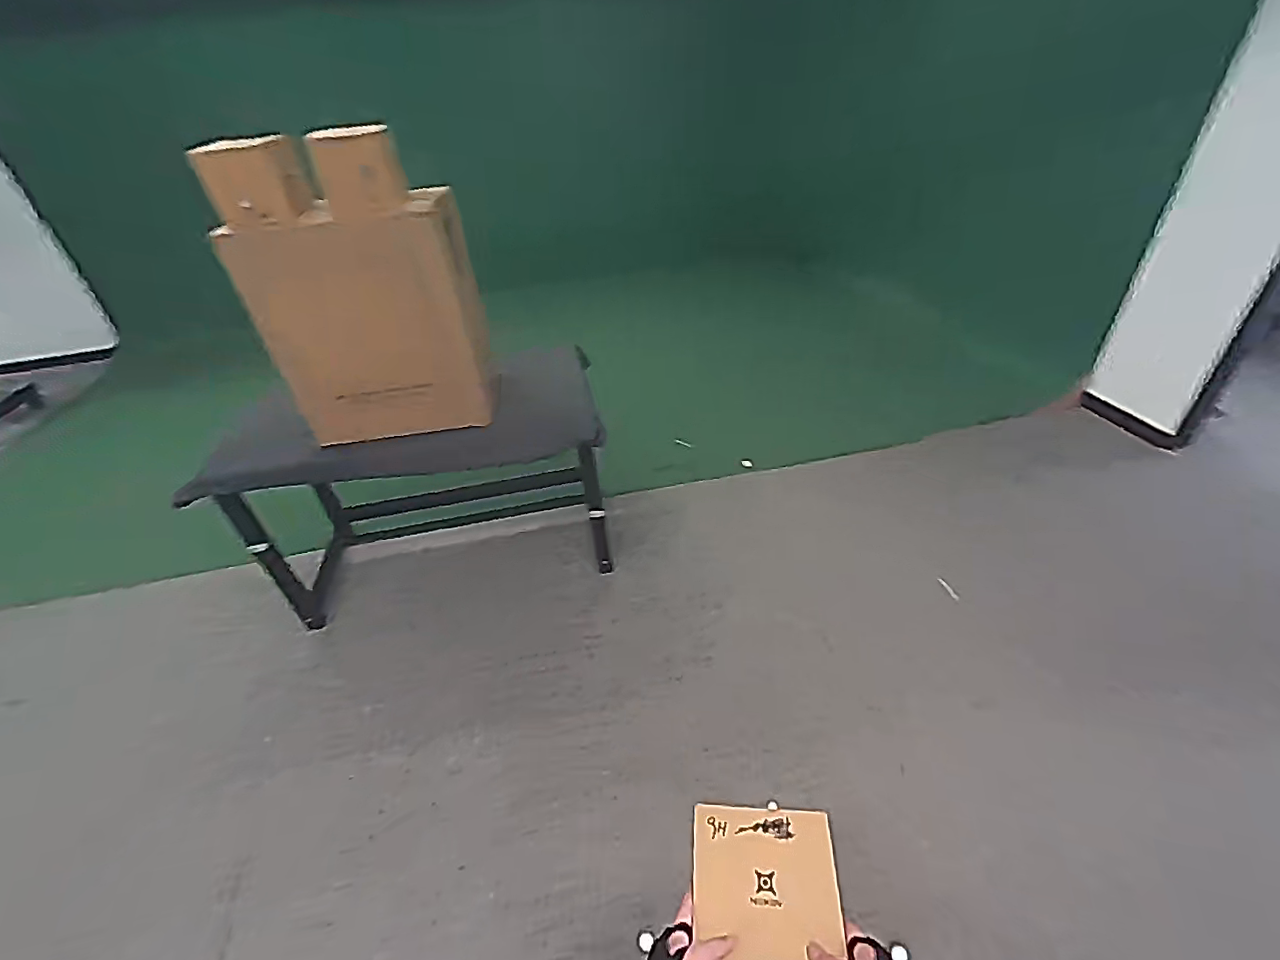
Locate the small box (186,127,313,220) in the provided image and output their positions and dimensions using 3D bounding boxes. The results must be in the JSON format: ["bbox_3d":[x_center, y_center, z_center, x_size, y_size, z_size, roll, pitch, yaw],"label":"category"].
[{"bbox_3d":[-0.943,-0.753,1.330,0.168,0.176,0.179,-8,39,-1],"label":"small box"}]

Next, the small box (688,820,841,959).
[{"bbox_3d":[0.148,0.552,0.677,0.168,0.176,0.179,-3,40,5],"label":"small box"}]

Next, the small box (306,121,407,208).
[{"bbox_3d":[-0.702,-0.794,1.364,0.168,0.176,0.179,-8,39,-9],"label":"small box"}]
